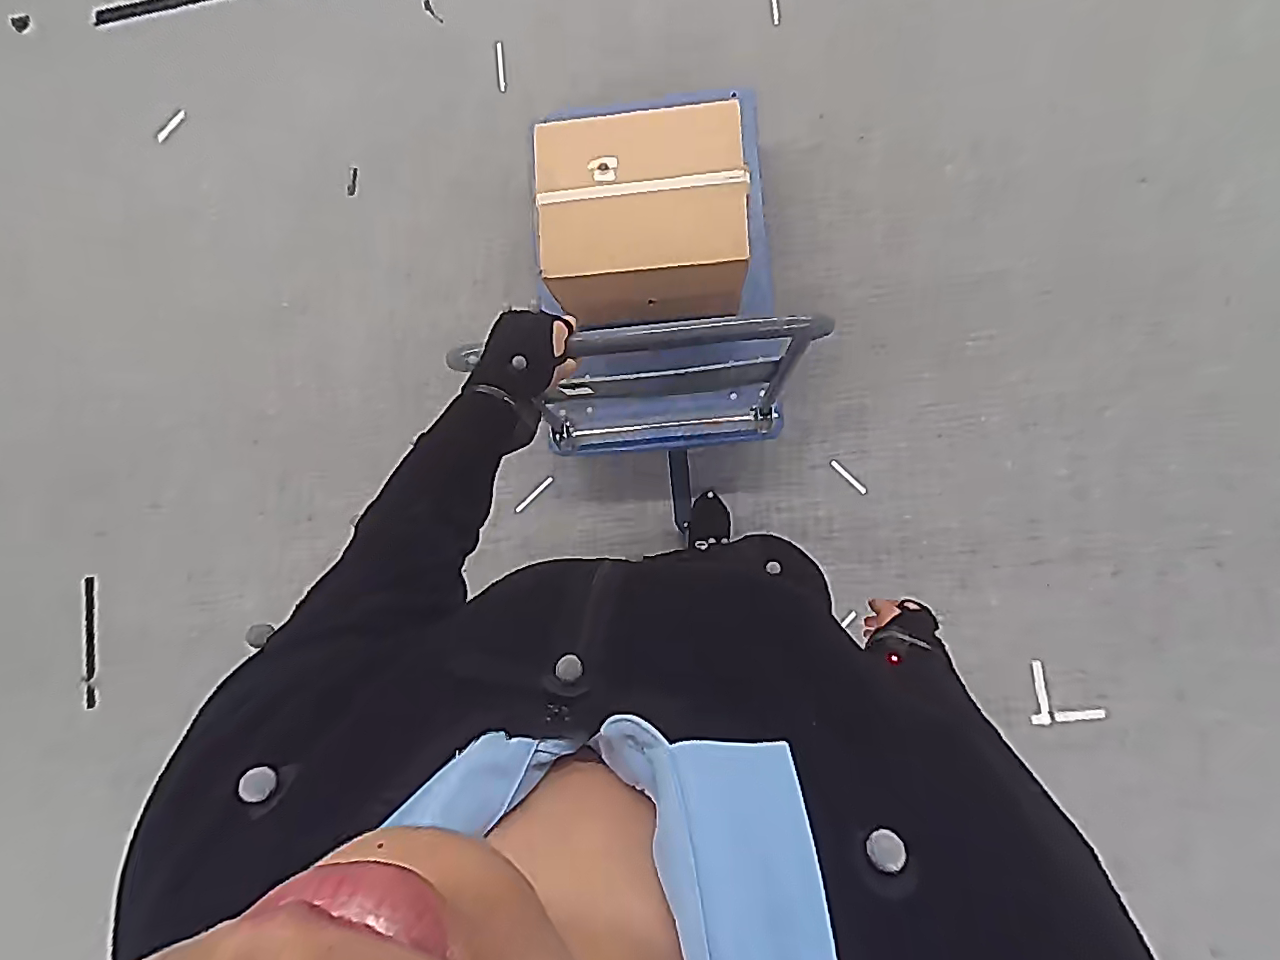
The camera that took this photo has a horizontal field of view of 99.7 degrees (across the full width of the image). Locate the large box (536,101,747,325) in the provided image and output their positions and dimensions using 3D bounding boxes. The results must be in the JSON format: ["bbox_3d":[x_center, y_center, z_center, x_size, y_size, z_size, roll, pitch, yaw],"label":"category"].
[{"bbox_3d":[0.016,-0.558,1.200,0.408,0.320,0.320,-4,87,7],"label":"large box"}]
